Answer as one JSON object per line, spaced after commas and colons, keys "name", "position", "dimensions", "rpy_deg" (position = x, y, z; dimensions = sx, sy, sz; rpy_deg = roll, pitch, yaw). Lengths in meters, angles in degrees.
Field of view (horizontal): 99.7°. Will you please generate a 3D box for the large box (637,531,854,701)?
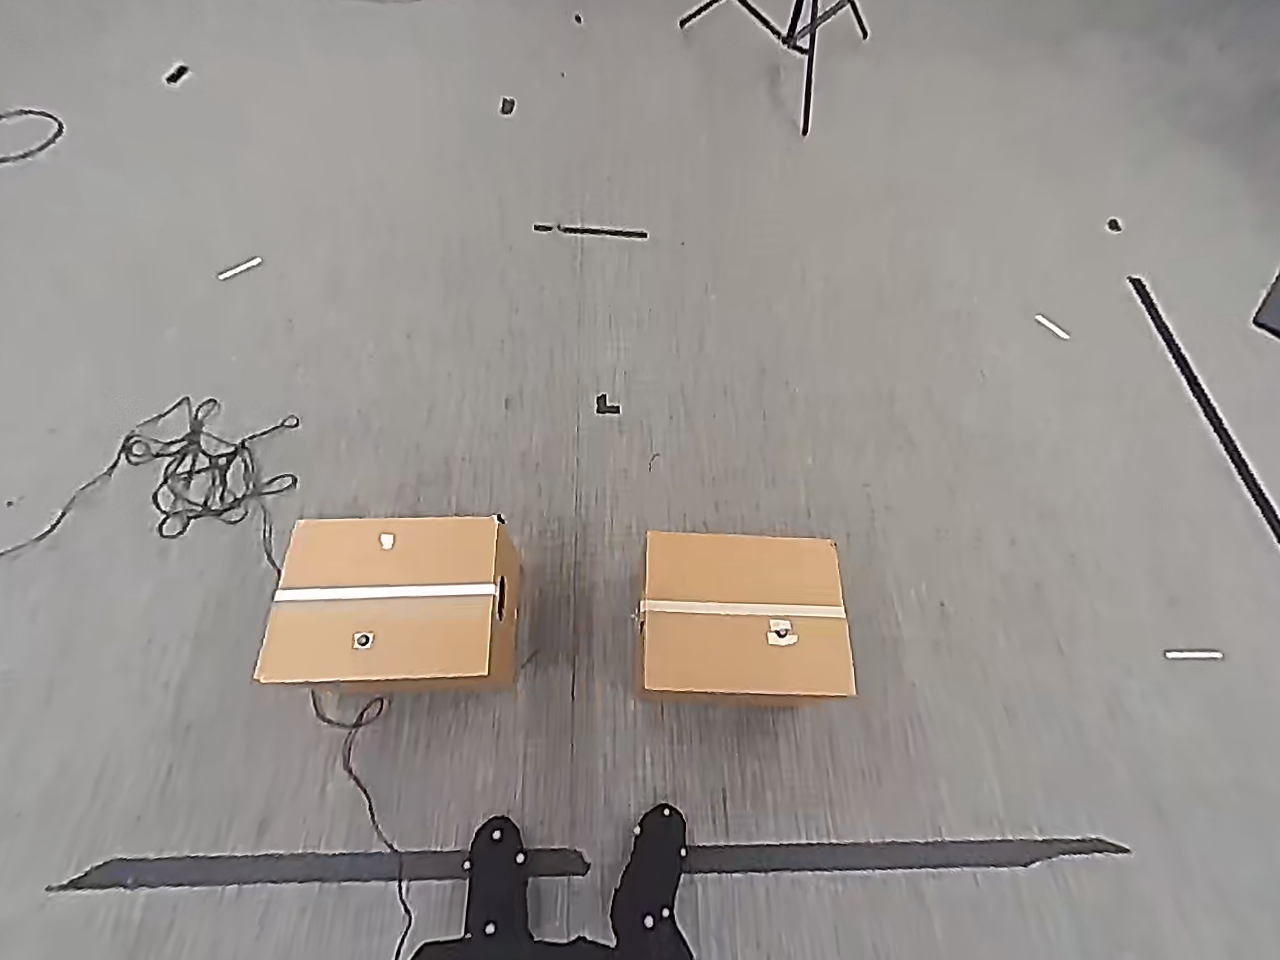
{"name": "large box", "position": [0.202, 0.319, 1.217], "dimensions": [0.408, 0.320, 0.320], "rpy_deg": [3, 65, -4]}
